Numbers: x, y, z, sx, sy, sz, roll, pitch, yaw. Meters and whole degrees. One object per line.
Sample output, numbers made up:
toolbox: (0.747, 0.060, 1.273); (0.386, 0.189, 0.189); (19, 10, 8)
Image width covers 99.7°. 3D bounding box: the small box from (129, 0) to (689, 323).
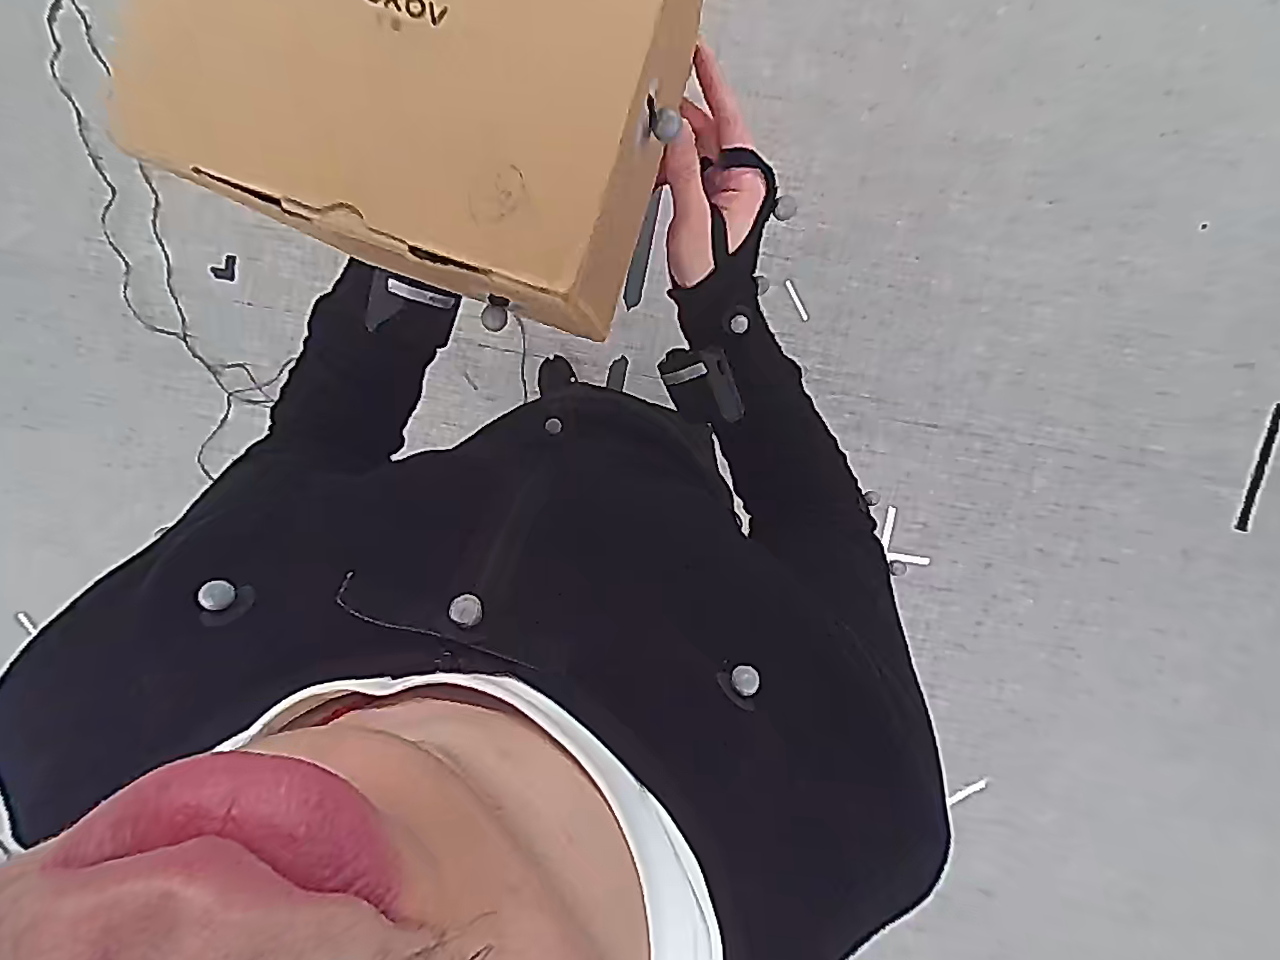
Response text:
small box: (-0.075, -0.189, 0.259); (0.168, 0.176, 0.179); (18, 98, -4)
